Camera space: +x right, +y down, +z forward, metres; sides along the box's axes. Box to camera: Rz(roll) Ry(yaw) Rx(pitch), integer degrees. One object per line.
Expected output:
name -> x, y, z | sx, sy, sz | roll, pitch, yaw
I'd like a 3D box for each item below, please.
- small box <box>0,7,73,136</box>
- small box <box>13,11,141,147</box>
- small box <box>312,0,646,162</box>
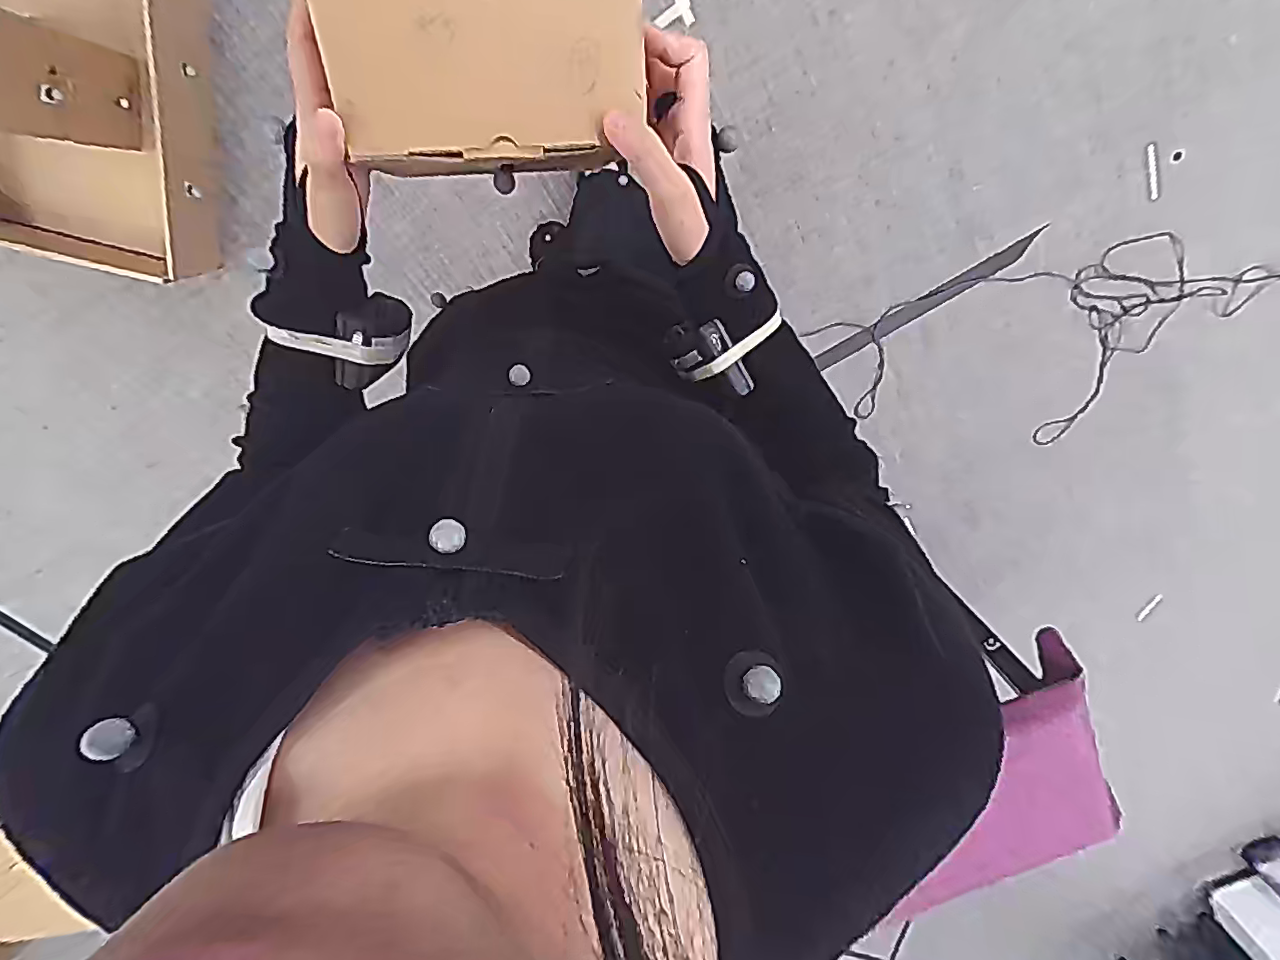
small box -> -1.038, -0.646, 0.821 | 0.179, 0.176, 0.168 | 13, 115, -13
small box -> -1.054, -0.718, 0.966 | 0.179, 0.176, 0.168 | 14, 115, -13
small box -> -0.095, -0.298, 0.328 | 0.168, 0.176, 0.179 | -9, 118, -11
